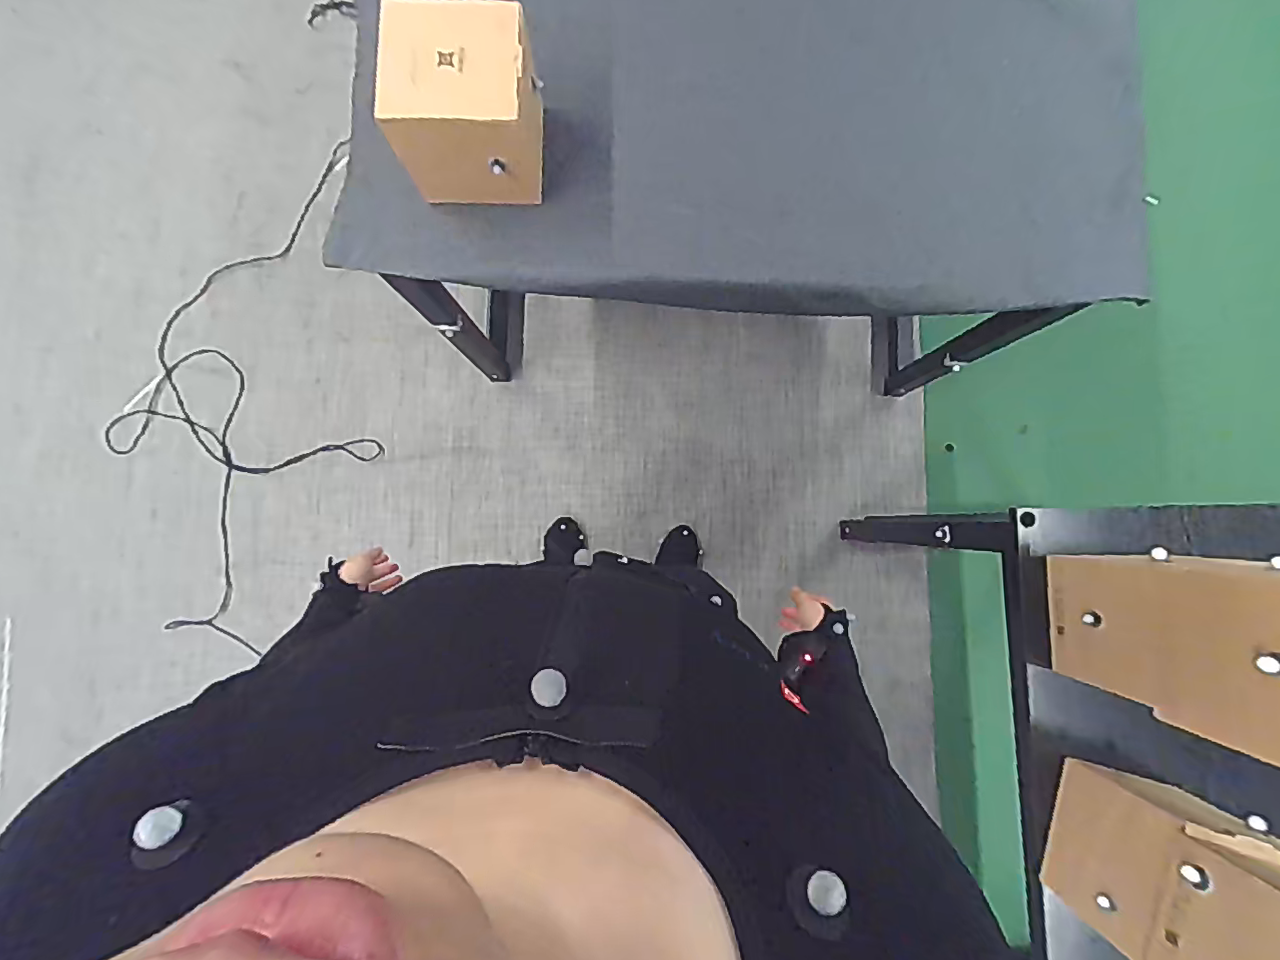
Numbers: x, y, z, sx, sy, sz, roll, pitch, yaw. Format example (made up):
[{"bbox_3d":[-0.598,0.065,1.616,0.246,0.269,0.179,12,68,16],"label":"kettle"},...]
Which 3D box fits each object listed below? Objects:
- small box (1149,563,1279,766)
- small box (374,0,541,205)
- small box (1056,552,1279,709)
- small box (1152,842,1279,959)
[{"bbox_3d":[0.654,0.177,0.526,0.168,0.176,0.179,0,86,0],"label":"small box"},{"bbox_3d":[-0.235,-0.501,0.740,0.179,0.176,0.168,0,83,1],"label":"small box"},{"bbox_3d":[0.670,0.182,0.688,0.179,0.176,0.168,0,87,0],"label":"small box"},{"bbox_3d":[0.645,0.482,0.503,0.179,0.176,0.168,18,87,1],"label":"small box"}]
